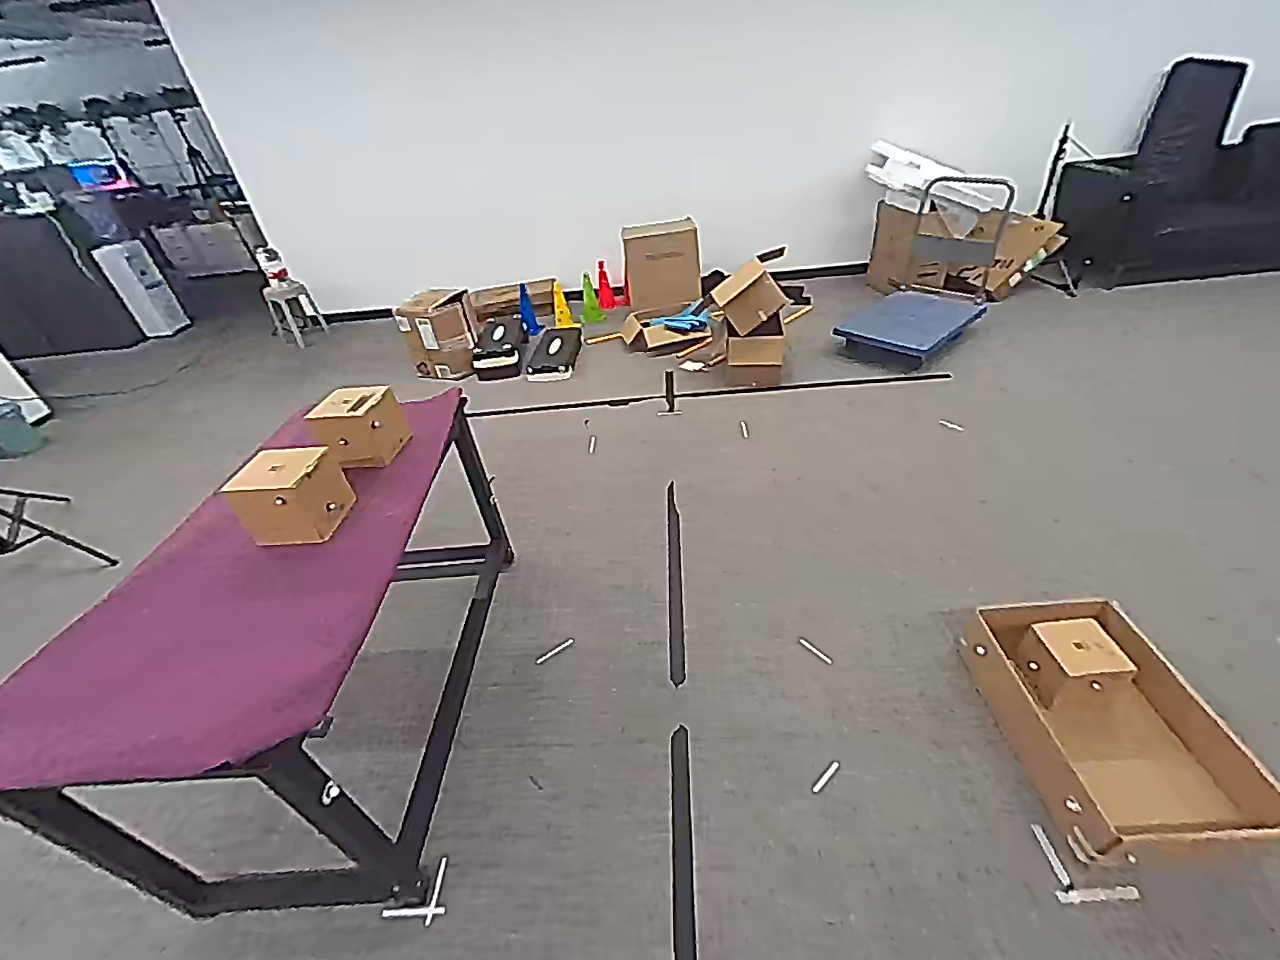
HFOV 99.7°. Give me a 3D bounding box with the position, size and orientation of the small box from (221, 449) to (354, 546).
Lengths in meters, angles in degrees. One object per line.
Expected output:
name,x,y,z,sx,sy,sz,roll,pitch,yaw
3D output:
small box,-0.829,0.044,1.292,0.179,0.176,0.168,-3,37,5

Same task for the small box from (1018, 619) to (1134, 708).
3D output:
small box,1.182,0.508,1.489,0.179,0.176,0.168,-6,38,2
